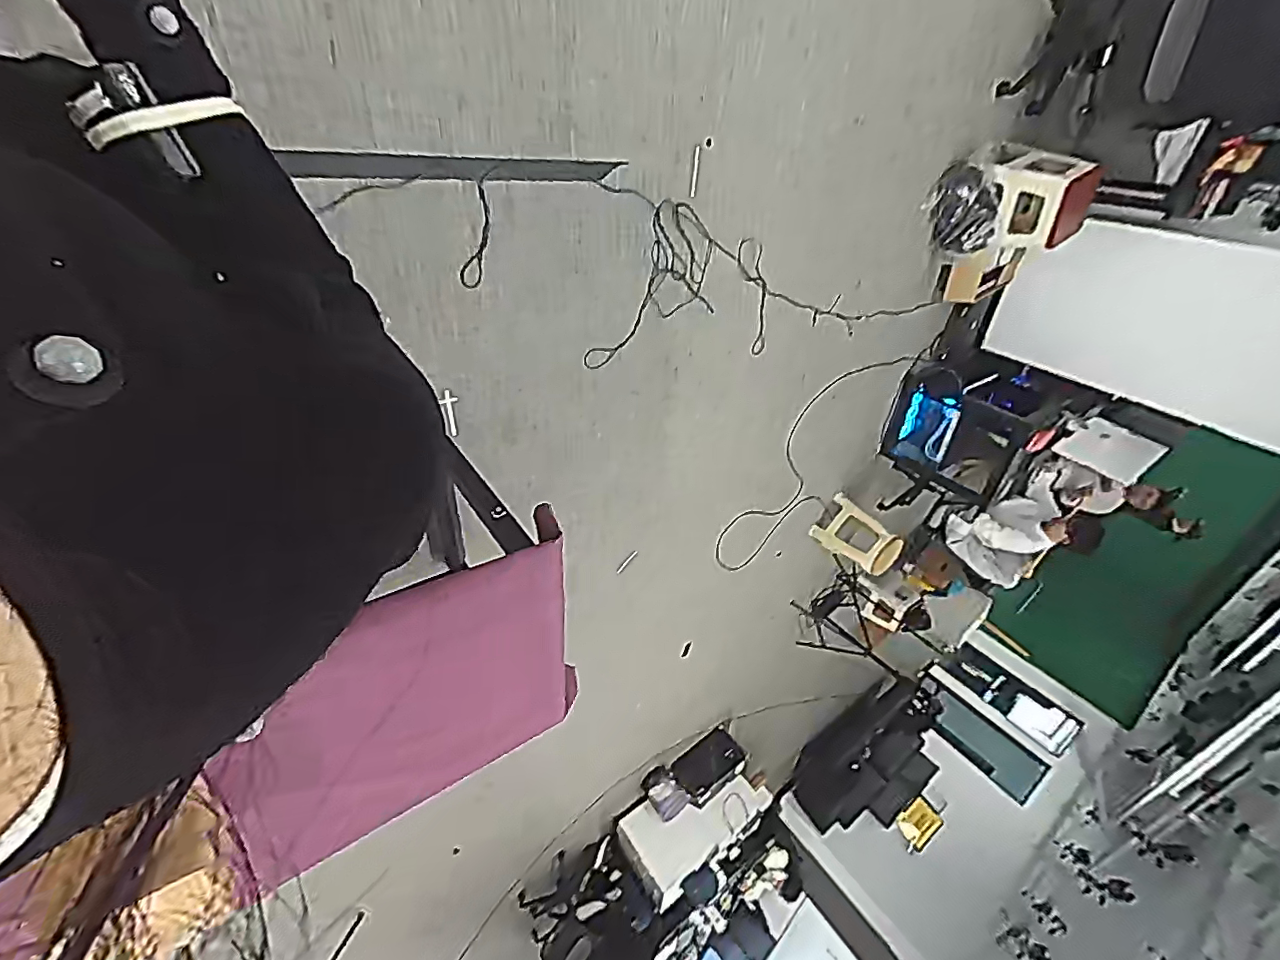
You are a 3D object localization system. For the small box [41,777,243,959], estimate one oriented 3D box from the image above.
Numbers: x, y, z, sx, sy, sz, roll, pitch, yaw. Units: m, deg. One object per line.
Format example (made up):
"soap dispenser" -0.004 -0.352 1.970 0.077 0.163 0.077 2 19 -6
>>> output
"small box" -0.734 0.594 0.813 0.179 0.176 0.168 -18 130 -32
